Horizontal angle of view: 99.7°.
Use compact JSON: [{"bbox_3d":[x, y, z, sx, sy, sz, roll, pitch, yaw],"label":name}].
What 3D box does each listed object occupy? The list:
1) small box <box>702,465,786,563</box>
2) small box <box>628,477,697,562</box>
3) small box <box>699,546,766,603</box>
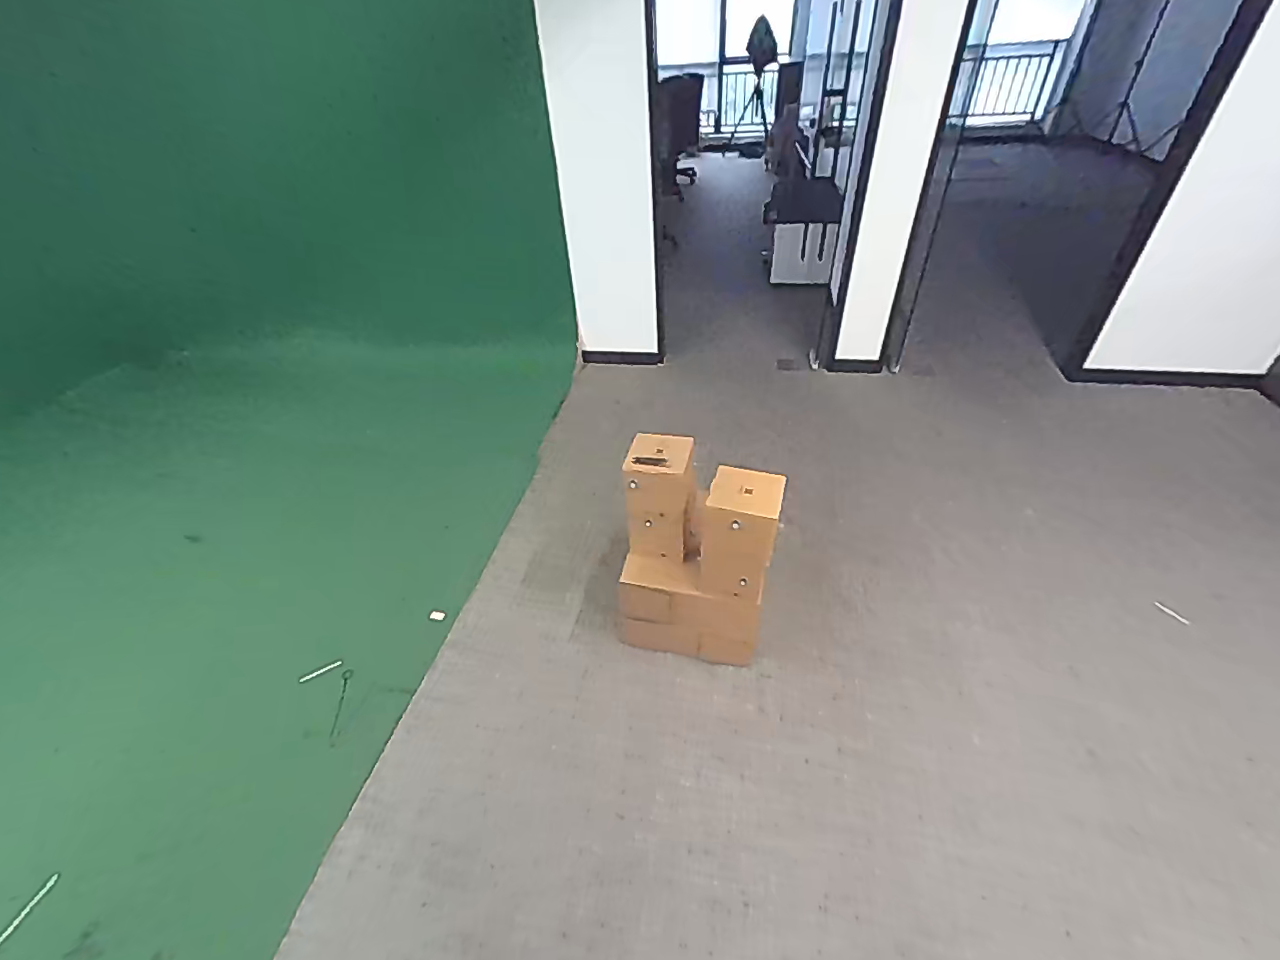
[{"bbox_3d":[0.262,0.089,1.371,0.179,0.176,0.168,10,41,15],"label":"small box"},{"bbox_3d":[0.070,0.117,1.612,0.168,0.176,0.179,8,39,16],"label":"small box"},{"bbox_3d":[0.260,0.209,1.481,0.168,0.176,0.179,11,40,14],"label":"small box"}]
